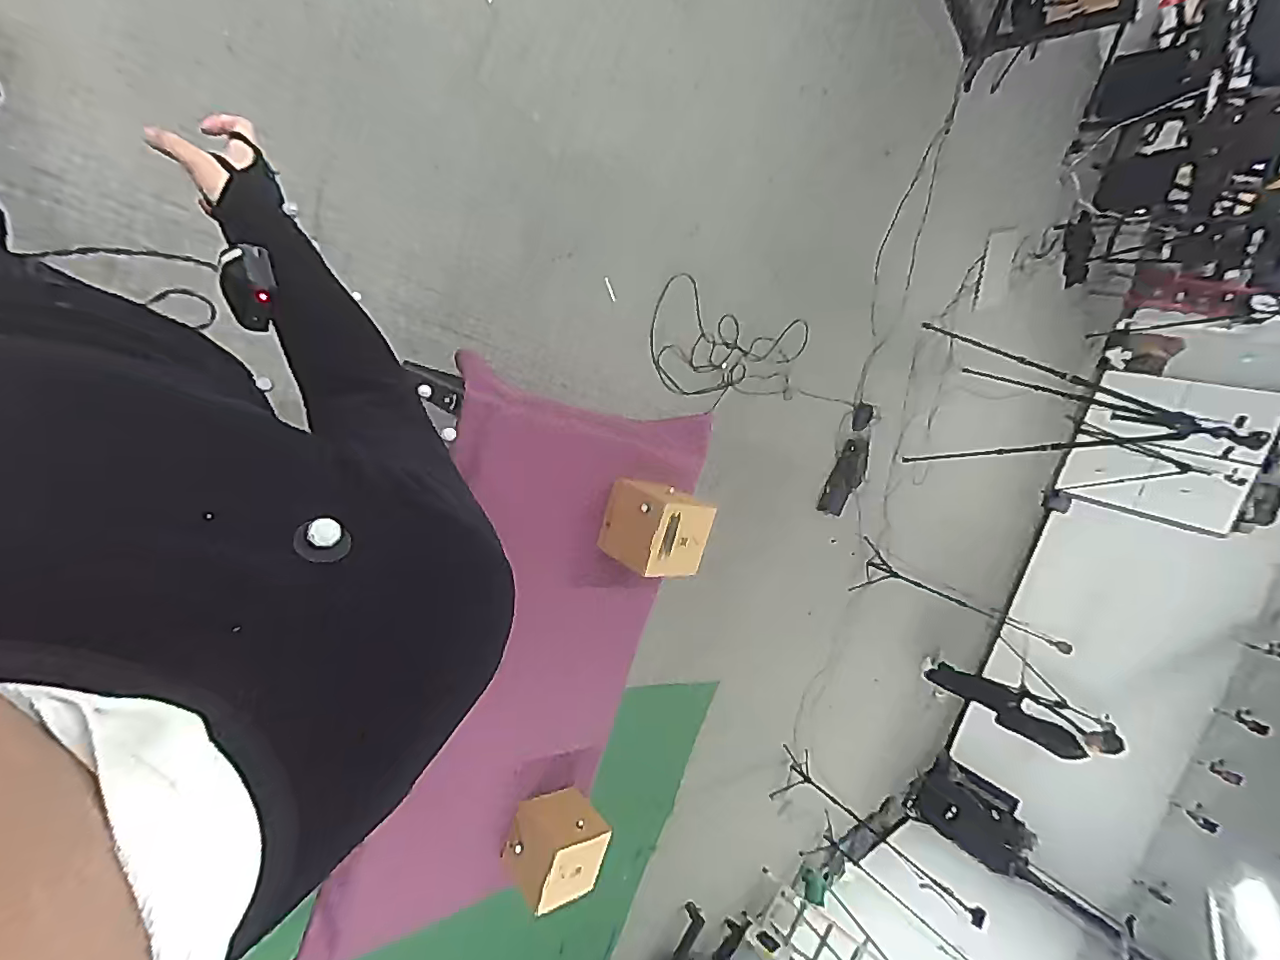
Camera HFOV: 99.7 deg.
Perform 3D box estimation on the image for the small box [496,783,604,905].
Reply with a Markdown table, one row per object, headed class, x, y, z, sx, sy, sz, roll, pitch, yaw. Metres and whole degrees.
| class | x | y | z | sx | sy | sz | roll | pitch | yaw |
| --- | --- | --- | --- | --- | --- | --- | --- | --- | --- |
| small box | -0.227 | 0.892 | 1.350 | 0.179 | 0.176 | 0.168 | 15 | 95 | -45 |
